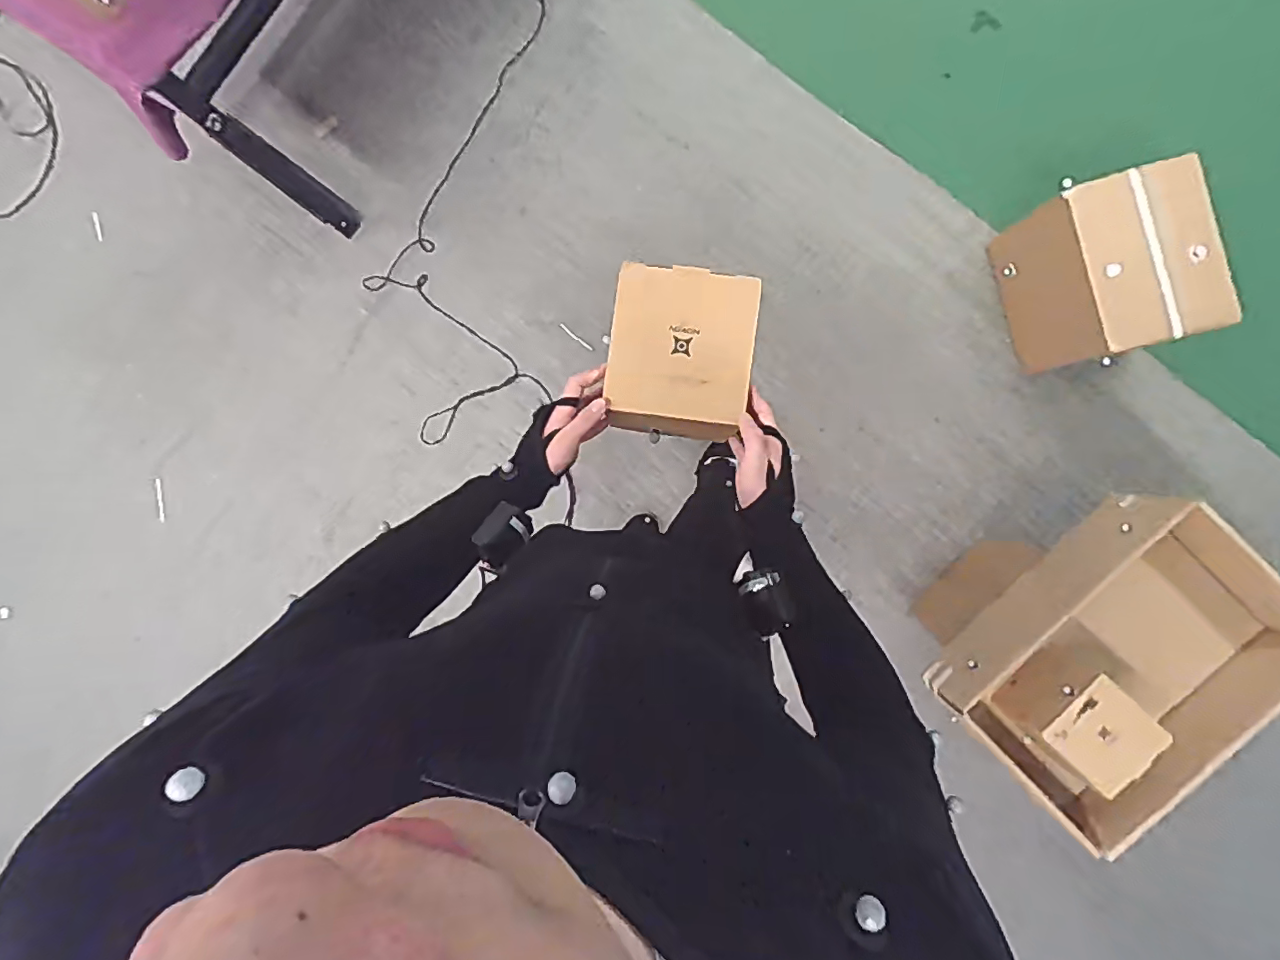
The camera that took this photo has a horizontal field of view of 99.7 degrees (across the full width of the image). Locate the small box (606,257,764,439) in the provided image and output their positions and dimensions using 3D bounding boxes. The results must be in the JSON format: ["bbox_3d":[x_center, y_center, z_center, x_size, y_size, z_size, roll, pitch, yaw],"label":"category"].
[{"bbox_3d":[0.052,-0.157,0.695,0.168,0.176,0.179,7,88,1],"label":"small box"}]
